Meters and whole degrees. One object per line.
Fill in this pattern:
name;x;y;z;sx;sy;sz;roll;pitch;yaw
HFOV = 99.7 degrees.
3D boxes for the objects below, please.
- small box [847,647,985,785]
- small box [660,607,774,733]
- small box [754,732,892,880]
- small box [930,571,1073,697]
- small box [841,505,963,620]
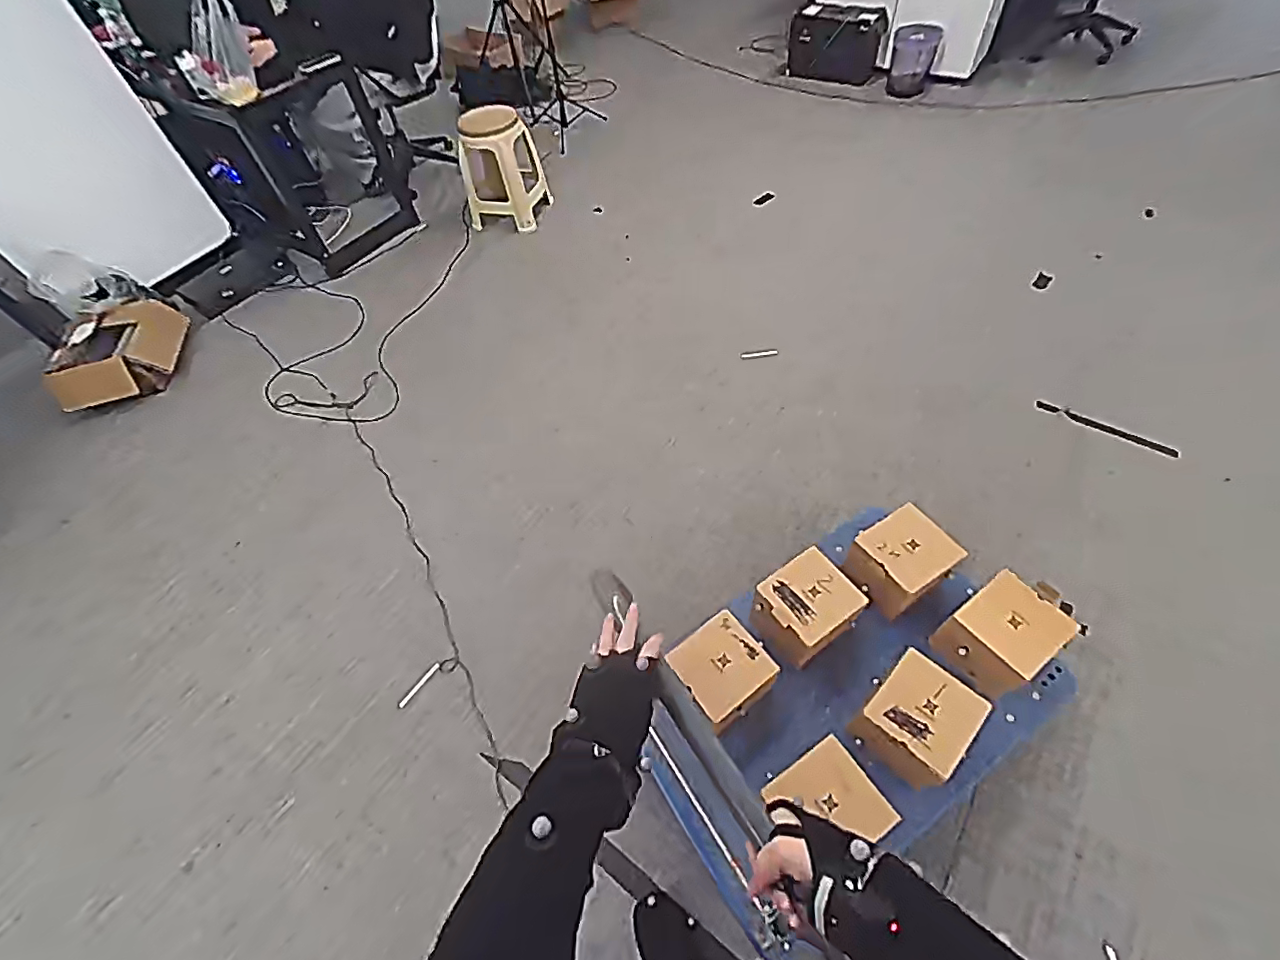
small box;0.537;0.477;1.081;0.179;0.176;0.168;-40;60;-21
small box;0.165;0.414;1.164;0.179;0.176;0.168;-33;59;-16
small box;0.328;0.611;1.012;0.179;0.176;0.168;-29;58;-14
small box;0.757;0.334;1.158;0.179;0.176;0.168;-32;58;-16
small box;0.602;0.197;1.269;0.179;0.176;0.168;-29;57;-13
